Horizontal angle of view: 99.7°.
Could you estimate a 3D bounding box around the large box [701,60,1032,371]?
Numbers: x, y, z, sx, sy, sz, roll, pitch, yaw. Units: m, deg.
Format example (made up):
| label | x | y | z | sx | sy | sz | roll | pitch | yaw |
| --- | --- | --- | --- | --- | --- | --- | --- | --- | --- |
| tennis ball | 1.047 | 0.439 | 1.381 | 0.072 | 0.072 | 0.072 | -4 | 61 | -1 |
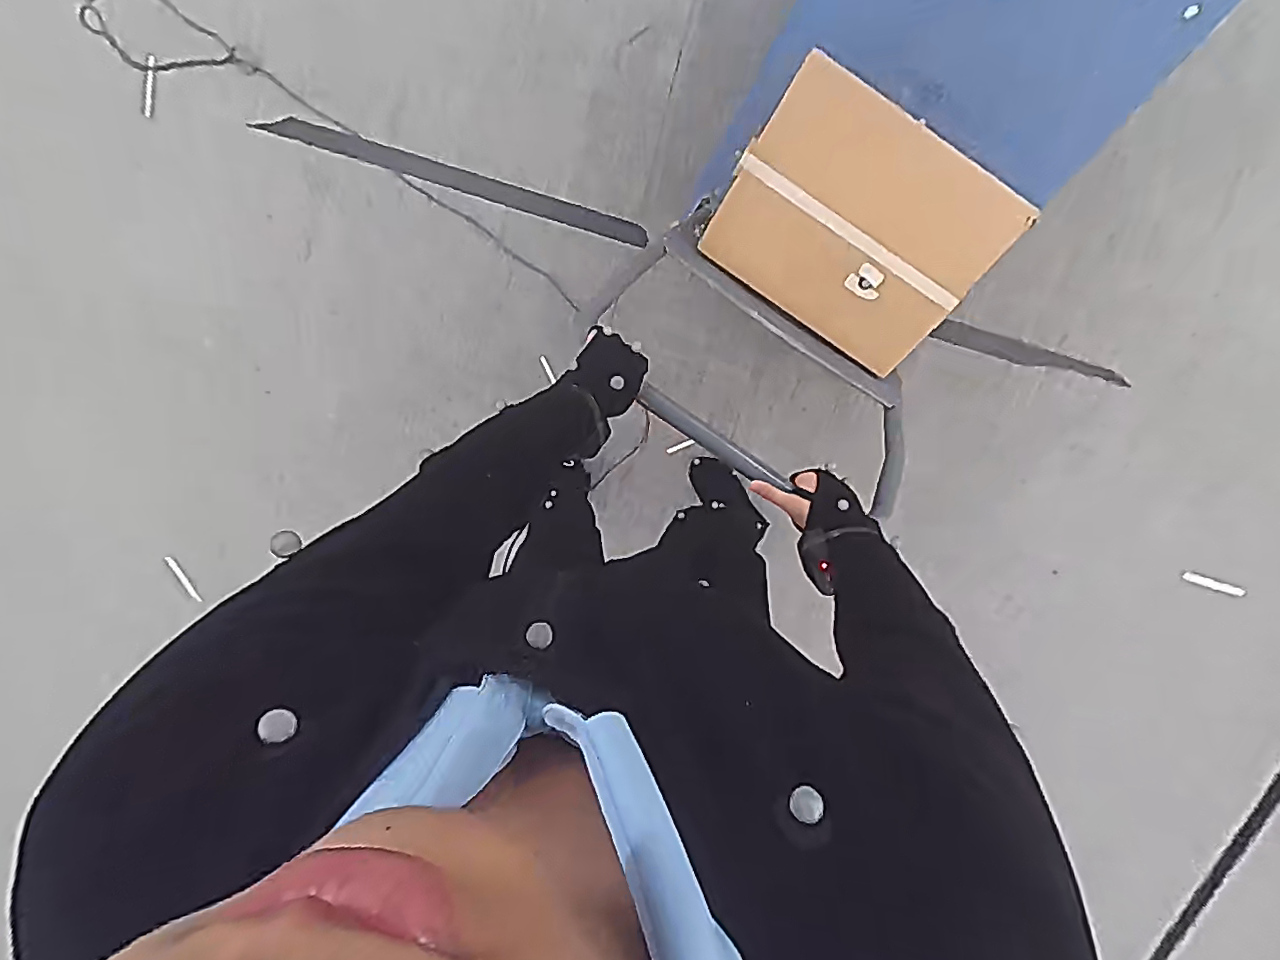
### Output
| label | x | y | z | sx | sy | sz | roll | pitch | yaw |
| --- | --- | --- | --- | --- | --- | --- | --- | --- | --- |
| large box | 0.381 | -0.475 | 0.989 | 0.408 | 0.320 | 0.320 | 33 | 127 | -3 |
